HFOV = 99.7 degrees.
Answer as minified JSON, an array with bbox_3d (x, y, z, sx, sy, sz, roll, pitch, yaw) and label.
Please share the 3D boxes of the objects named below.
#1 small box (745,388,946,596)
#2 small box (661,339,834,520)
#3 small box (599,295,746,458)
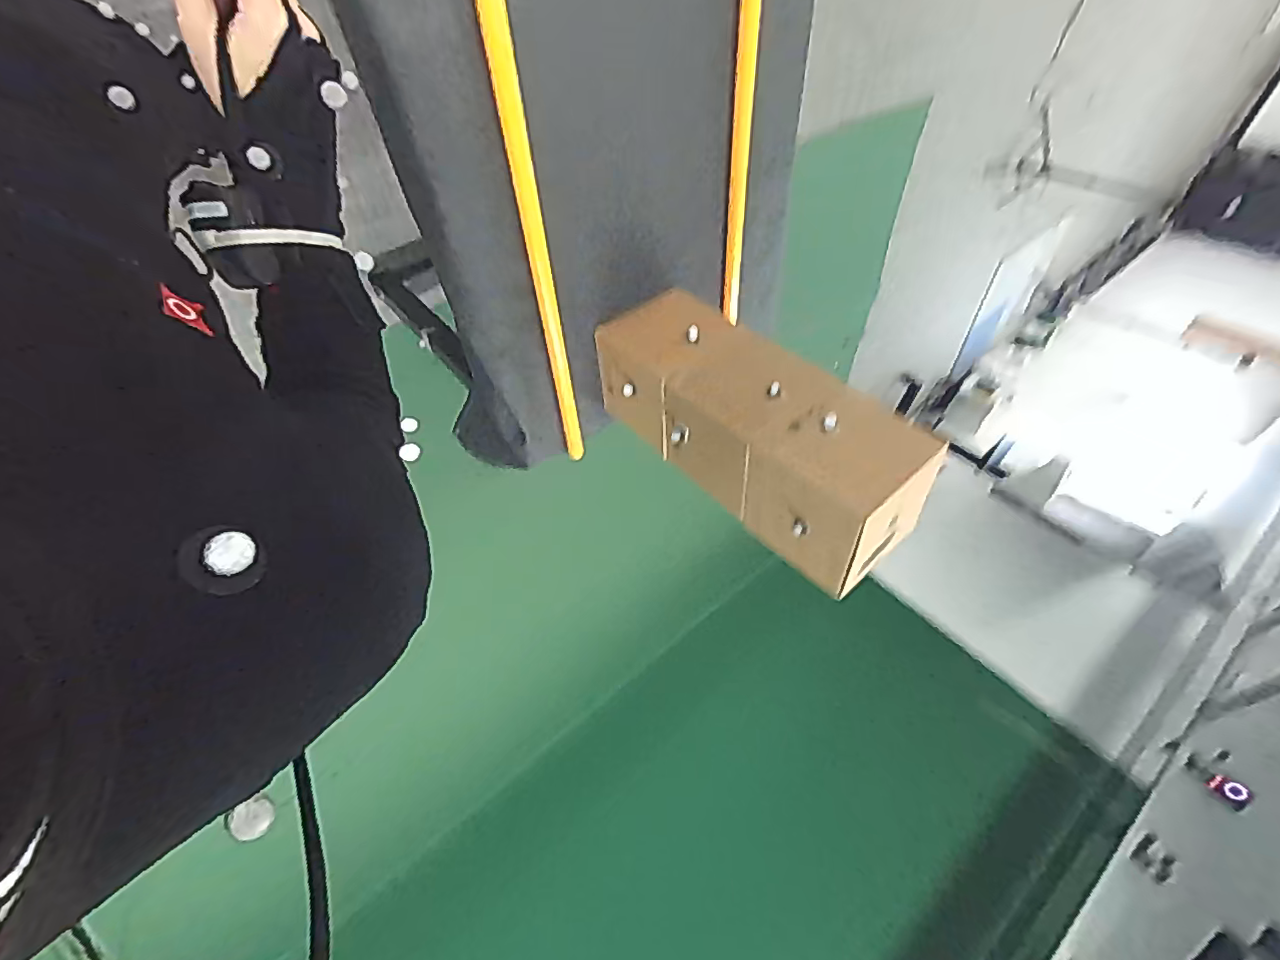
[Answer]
[{"bbox_3d":[0.255,0.011,0.713,0.168,0.176,0.179,-35,143,-22],"label":"small box"},{"bbox_3d":[0.152,-0.081,0.802,0.179,0.176,0.168,-34,144,-21],"label":"small box"},{"bbox_3d":[0.047,-0.174,0.884,0.179,0.176,0.168,-34,144,-23],"label":"small box"}]
